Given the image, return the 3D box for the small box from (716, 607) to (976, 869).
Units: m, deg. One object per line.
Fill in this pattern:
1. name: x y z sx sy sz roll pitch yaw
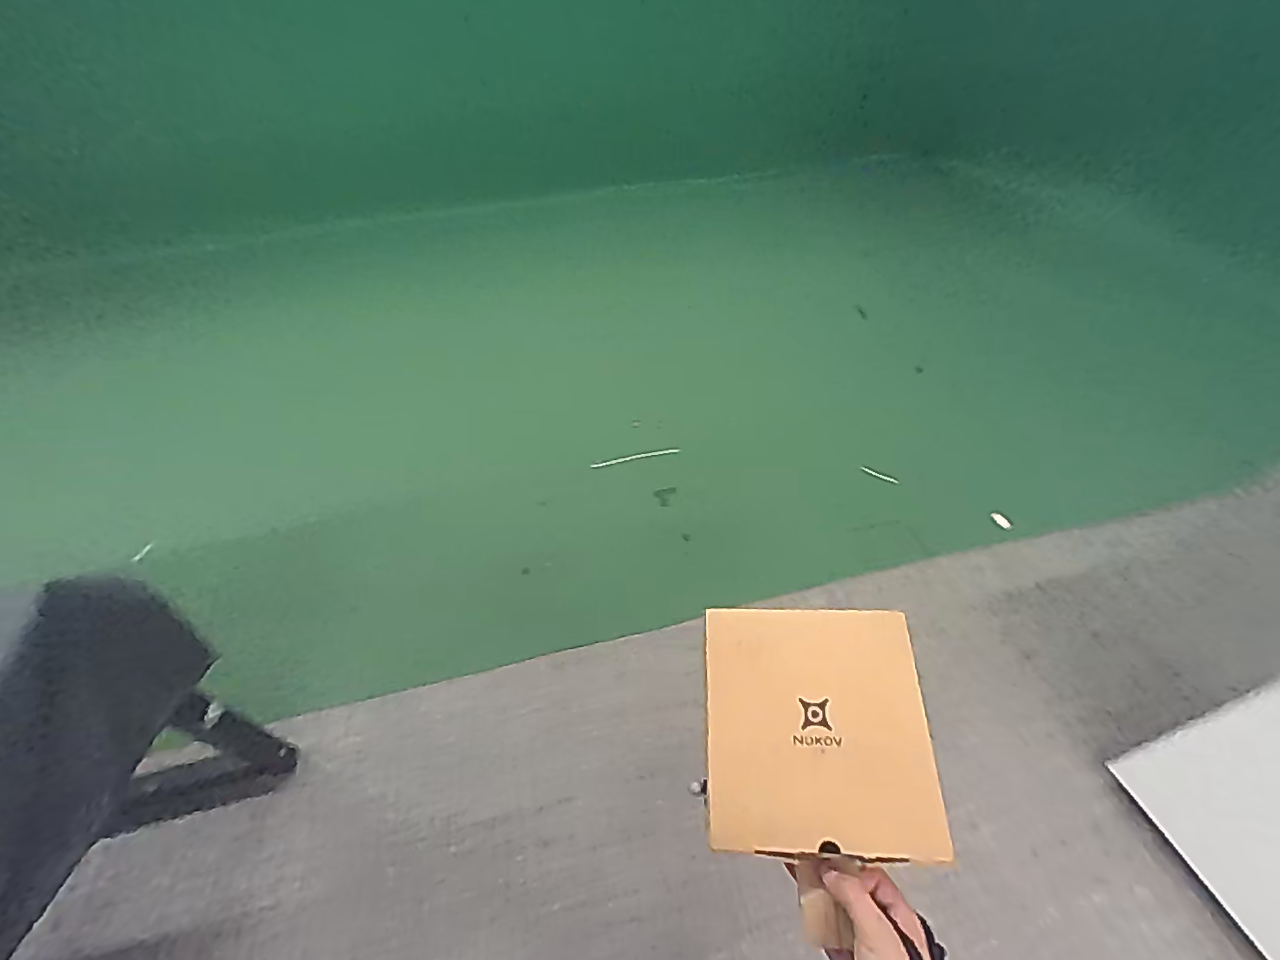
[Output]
1. small box: 0.154 0.225 0.478 0.168 0.176 0.179 0 59 6
